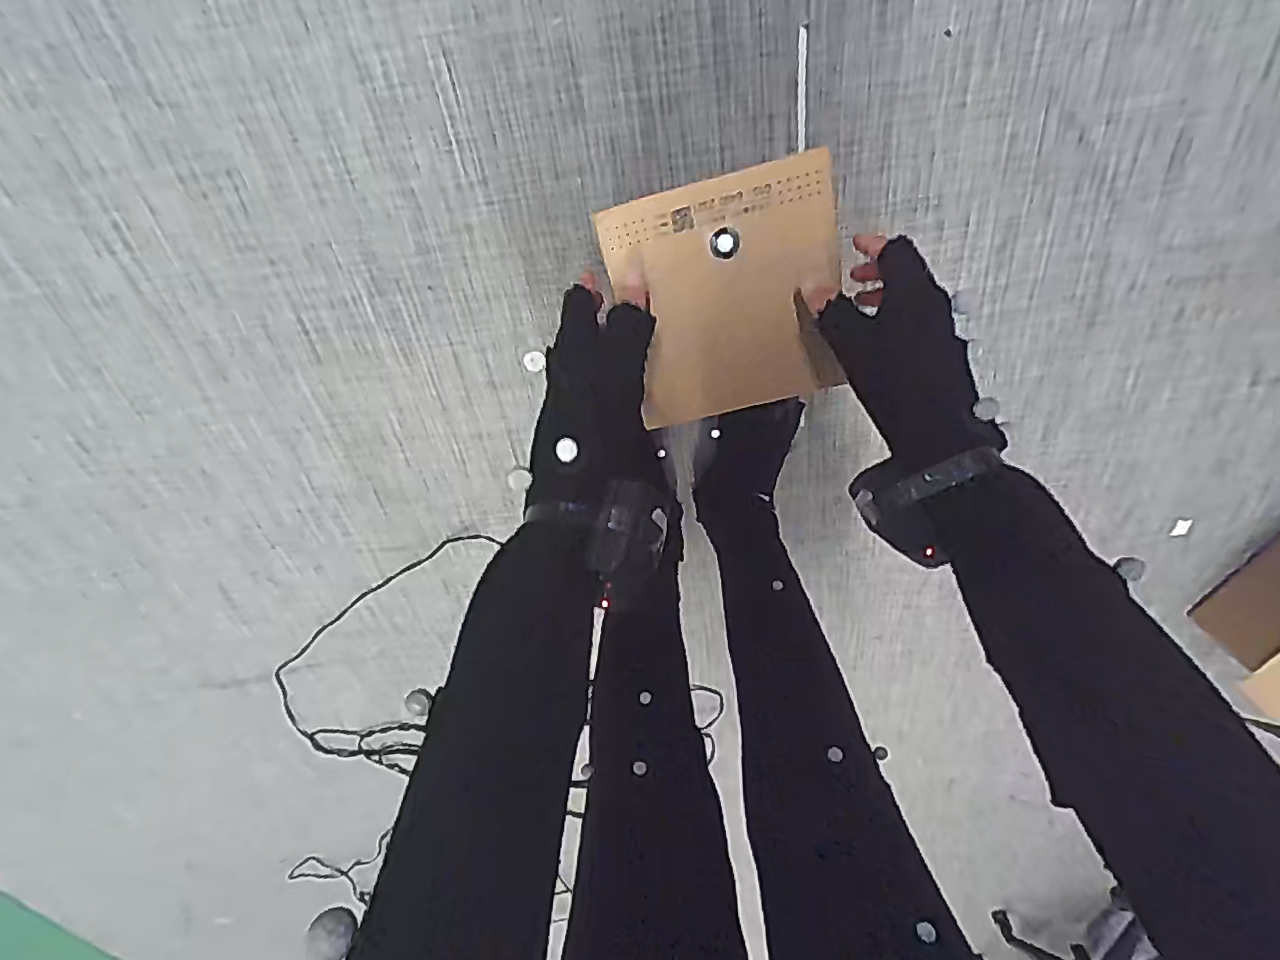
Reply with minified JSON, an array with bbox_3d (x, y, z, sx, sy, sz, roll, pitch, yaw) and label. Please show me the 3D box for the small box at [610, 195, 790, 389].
[{"bbox_3d":[0.069,-0.228,0.642,0.179,0.176,0.168,-9,120,8],"label":"small box"}]
